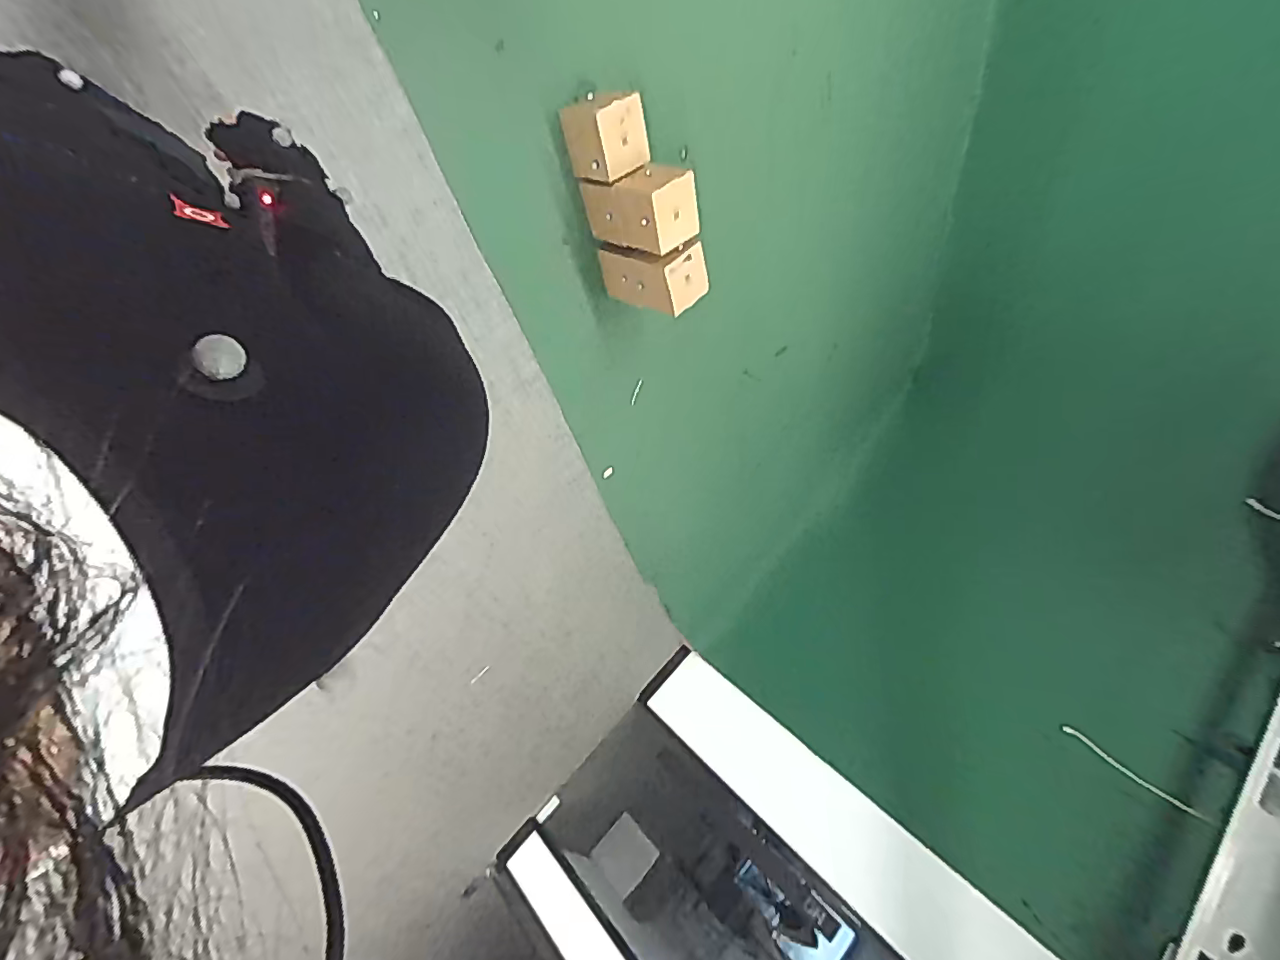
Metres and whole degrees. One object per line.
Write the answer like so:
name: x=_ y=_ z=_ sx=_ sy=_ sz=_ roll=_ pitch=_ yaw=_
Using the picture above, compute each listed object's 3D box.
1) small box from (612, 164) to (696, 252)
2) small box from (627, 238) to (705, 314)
small box: x=0.042 y=-0.801 z=1.583 sx=0.168 sy=0.176 sz=0.179 roll=-39 pitch=139 yaw=-22
small box: x=0.084 y=-0.668 z=1.728 sx=0.168 sy=0.176 sz=0.179 roll=-43 pitch=143 yaw=-19
